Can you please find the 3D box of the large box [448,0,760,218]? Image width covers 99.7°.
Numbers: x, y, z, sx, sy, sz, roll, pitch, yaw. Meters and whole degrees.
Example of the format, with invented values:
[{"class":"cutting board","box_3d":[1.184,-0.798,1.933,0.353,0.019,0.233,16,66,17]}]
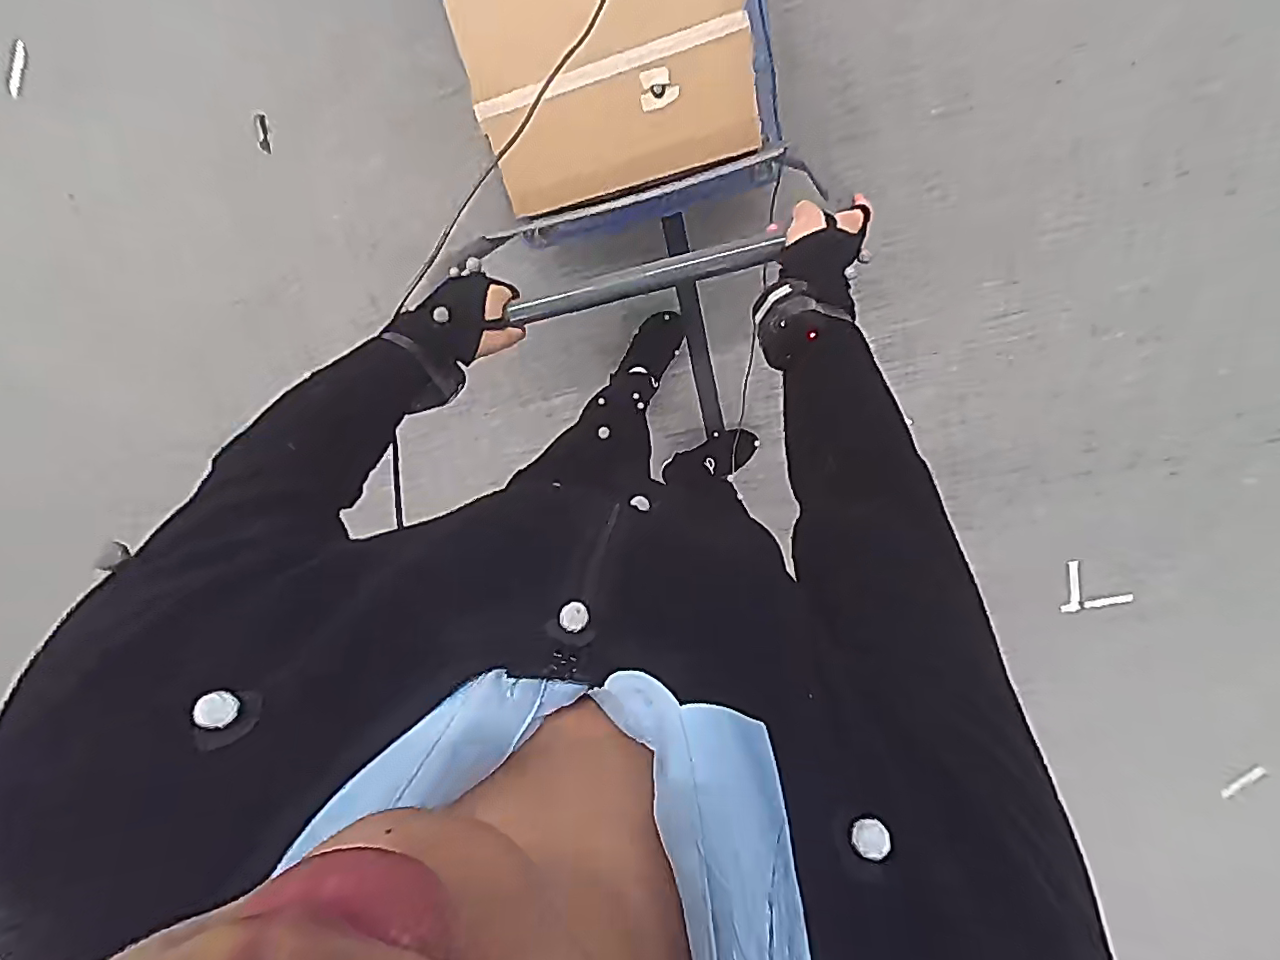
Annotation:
[{"class":"large box","box_3d":[-0.038,-0.675,0.920,0.408,0.320,0.320,-12,119,10]}]
